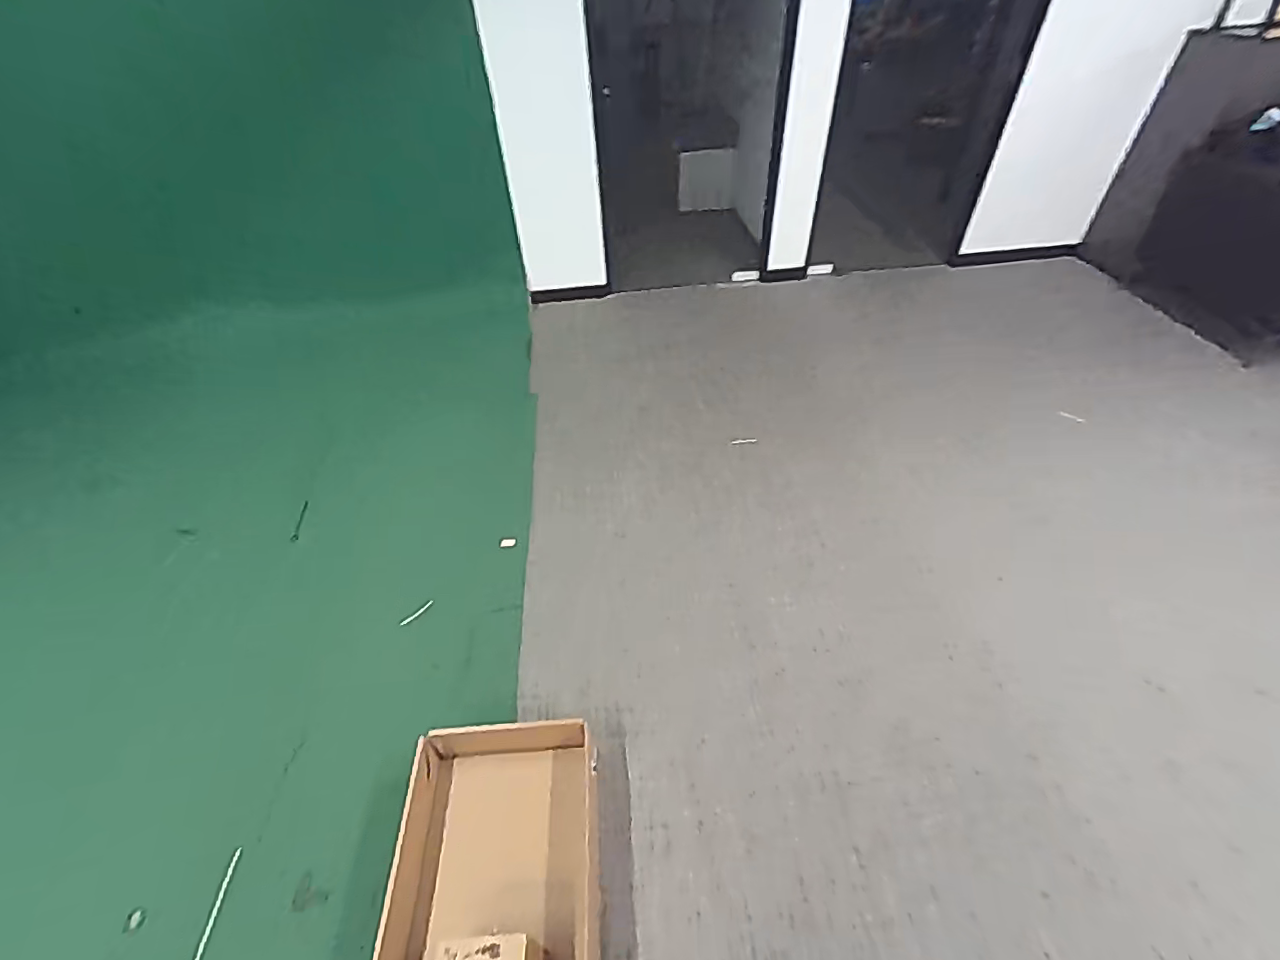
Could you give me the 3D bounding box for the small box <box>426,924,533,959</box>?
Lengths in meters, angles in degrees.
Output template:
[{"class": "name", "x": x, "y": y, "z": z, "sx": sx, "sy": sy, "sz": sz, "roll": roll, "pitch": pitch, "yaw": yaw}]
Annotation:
[{"class": "small box", "x": -0.294, "y": 0.934, "z": 0.985, "sx": 0.168, "sy": 0.176, "sz": 0.179, "roll": -2, "pitch": 45, "yaw": -2}]
